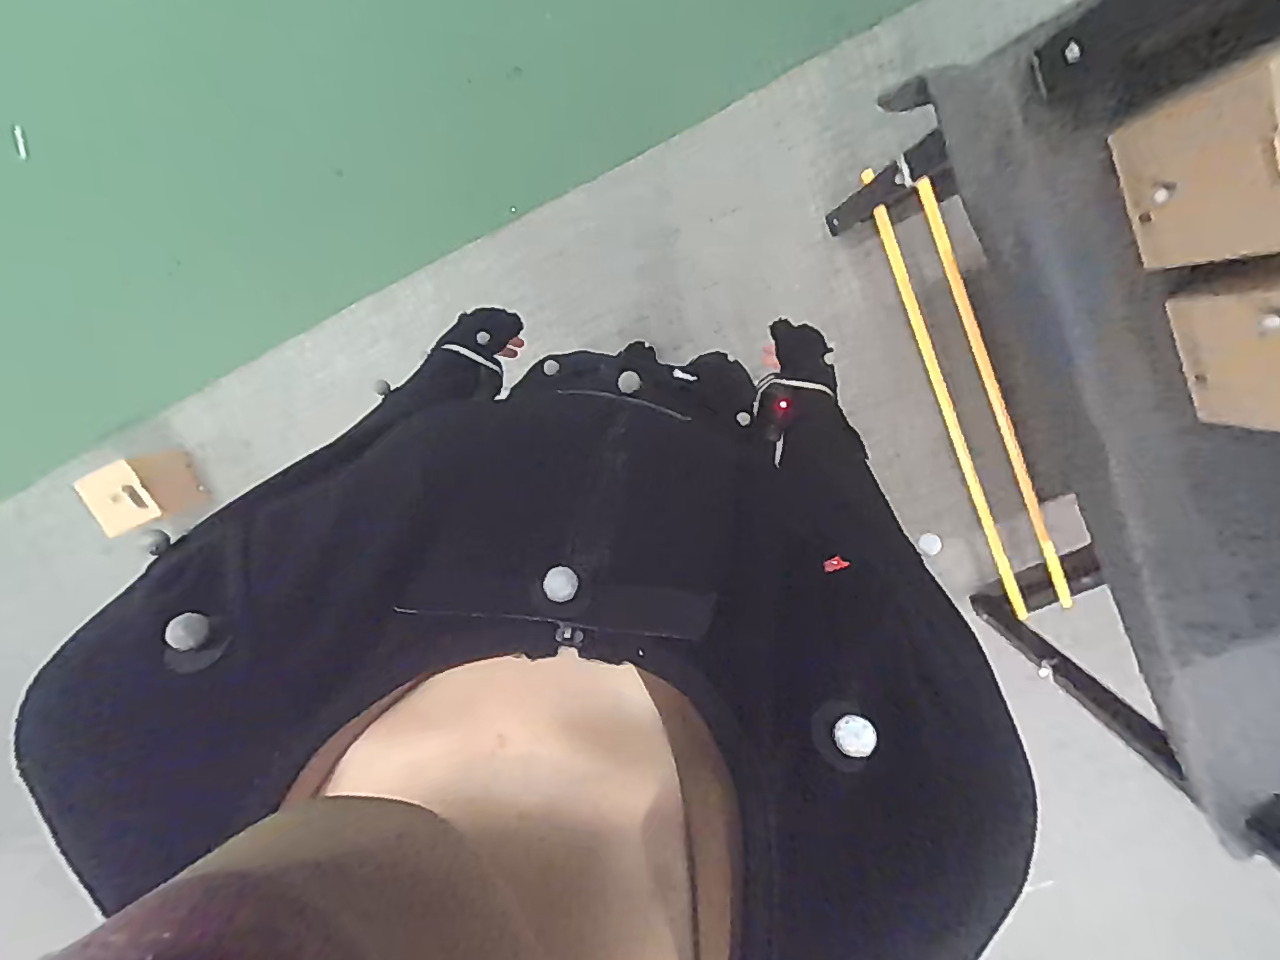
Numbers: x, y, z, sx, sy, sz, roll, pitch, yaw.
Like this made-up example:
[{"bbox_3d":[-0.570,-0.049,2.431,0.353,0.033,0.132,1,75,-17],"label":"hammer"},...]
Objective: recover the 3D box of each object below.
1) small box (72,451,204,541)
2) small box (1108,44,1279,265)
[{"bbox_3d":[-1.336,0.037,1.459,0.179,0.176,0.168,-23,102,8],"label":"small box"},{"bbox_3d":[0.640,-0.341,0.544,0.179,0.176,0.168,-27,102,8],"label":"small box"}]
